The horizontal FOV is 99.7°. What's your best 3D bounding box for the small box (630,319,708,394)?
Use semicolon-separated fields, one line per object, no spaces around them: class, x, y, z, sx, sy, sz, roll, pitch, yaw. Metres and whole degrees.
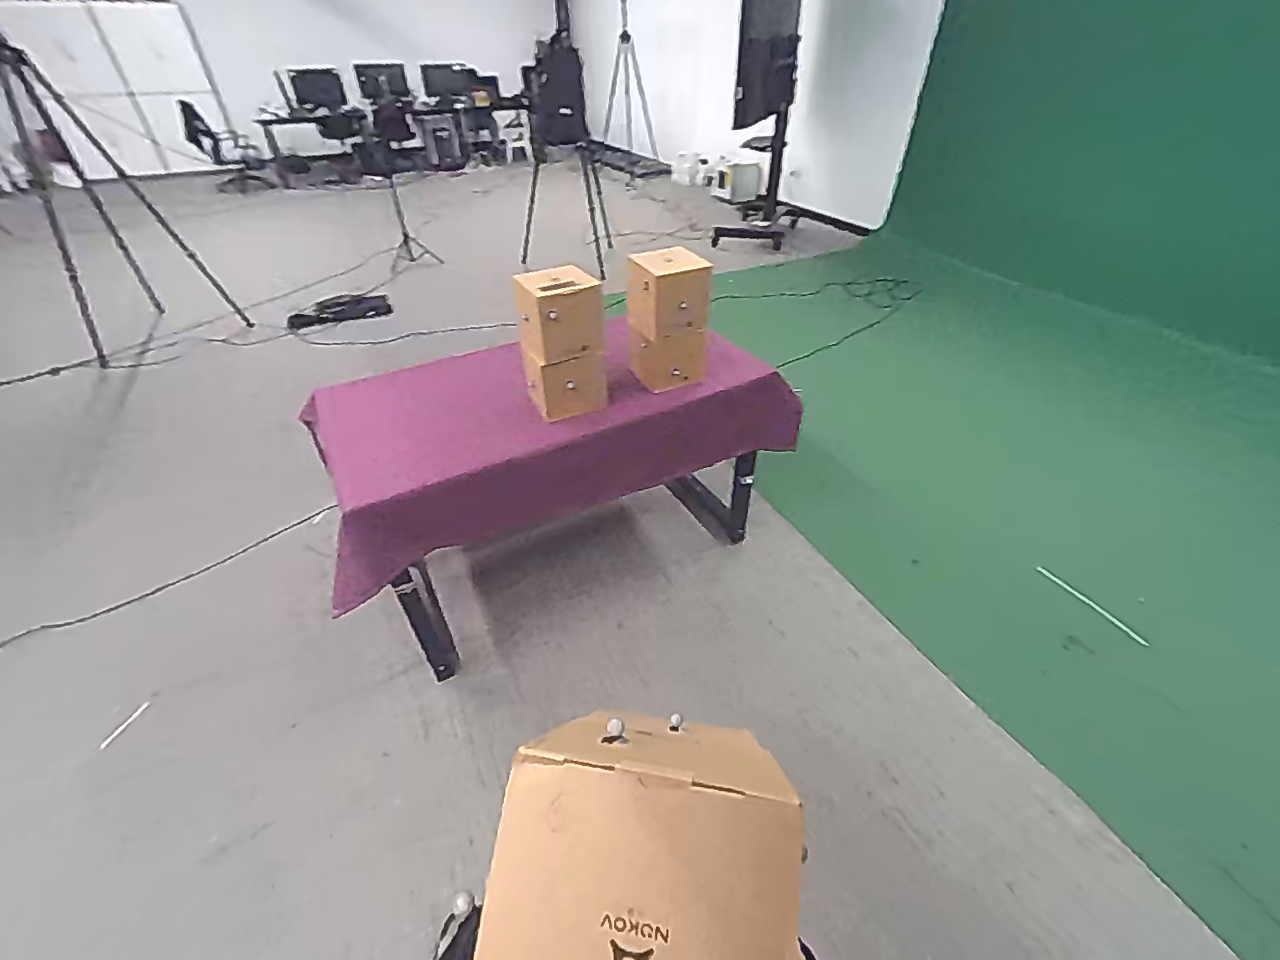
small box;0.078;-0.370;1.564;0.168;0.176;0.179;-17;43;-18

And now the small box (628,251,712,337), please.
small box;0.077;-0.497;1.460;0.168;0.176;0.179;-17;42;-20

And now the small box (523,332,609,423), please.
small box;-0.196;-0.274;1.451;0.179;0.176;0.168;-18;42;-19

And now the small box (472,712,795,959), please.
small box;0.003;0.263;0.363;0.168;0.176;0.179;5;73;9
